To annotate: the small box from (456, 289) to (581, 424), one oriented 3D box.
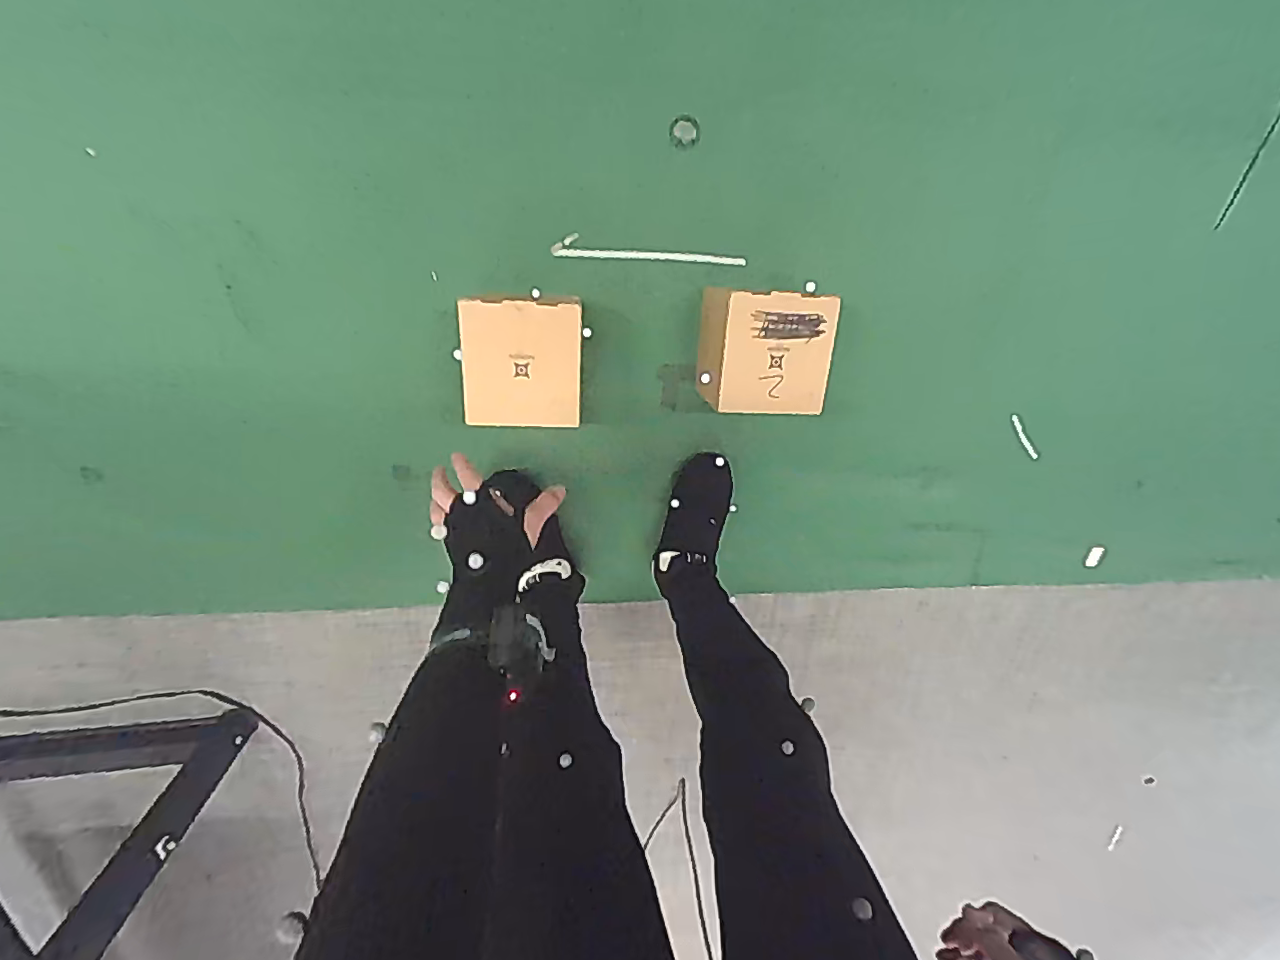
[{"bbox_3d":[-0.175,-0.194,0.829,0.168,0.176,0.179,1,111,-6],"label":"small box"}]
